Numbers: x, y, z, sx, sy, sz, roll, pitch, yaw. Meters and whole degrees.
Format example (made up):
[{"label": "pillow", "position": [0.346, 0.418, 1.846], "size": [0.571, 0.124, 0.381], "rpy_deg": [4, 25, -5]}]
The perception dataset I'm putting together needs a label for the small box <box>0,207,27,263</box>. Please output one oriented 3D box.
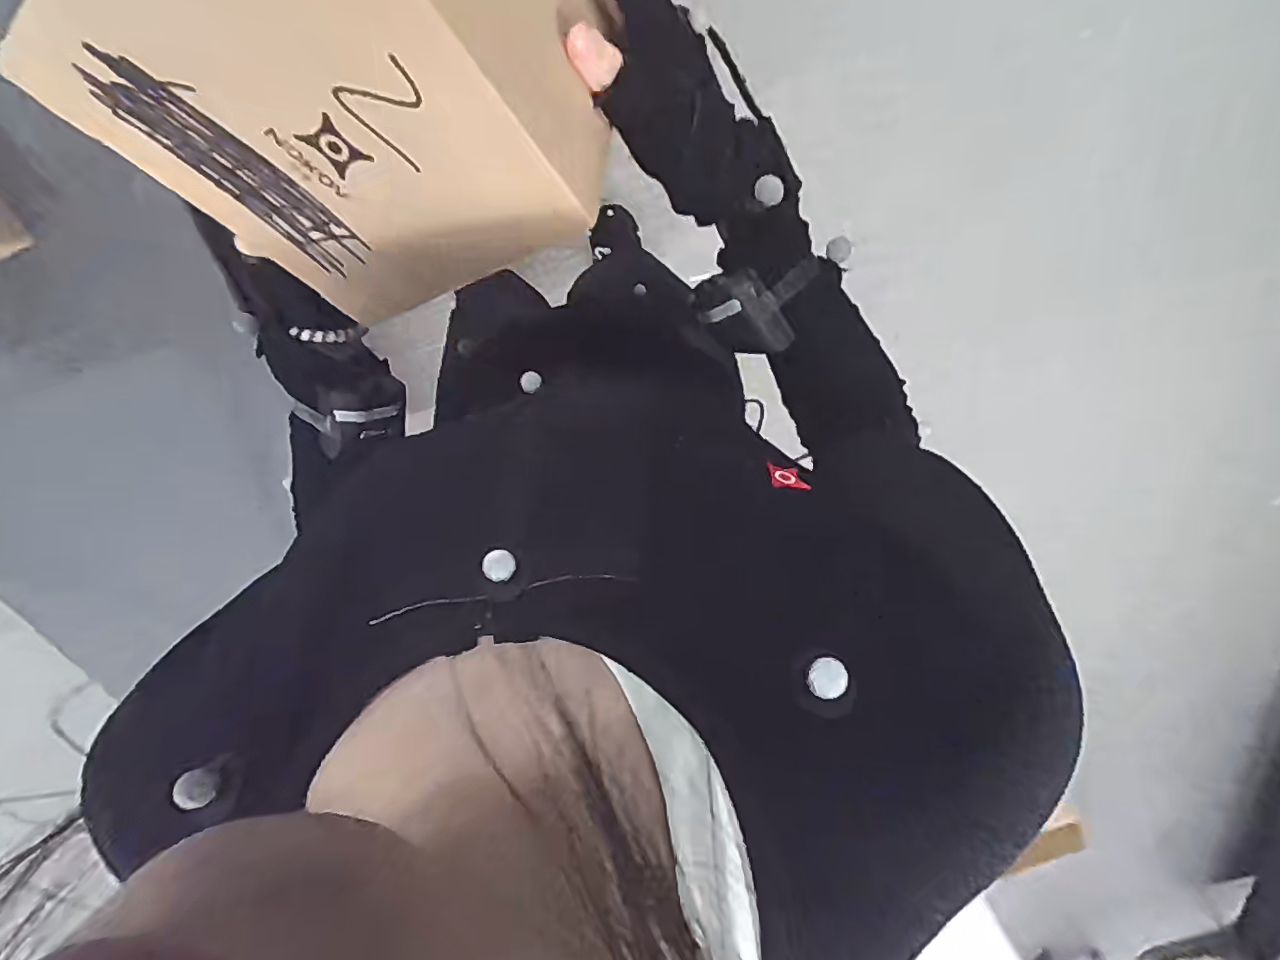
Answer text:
[{"label": "small box", "position": [-0.753, -0.261, 0.482], "size": [0.168, 0.176, 0.179], "rpy_deg": [-19, 118, 6]}]
